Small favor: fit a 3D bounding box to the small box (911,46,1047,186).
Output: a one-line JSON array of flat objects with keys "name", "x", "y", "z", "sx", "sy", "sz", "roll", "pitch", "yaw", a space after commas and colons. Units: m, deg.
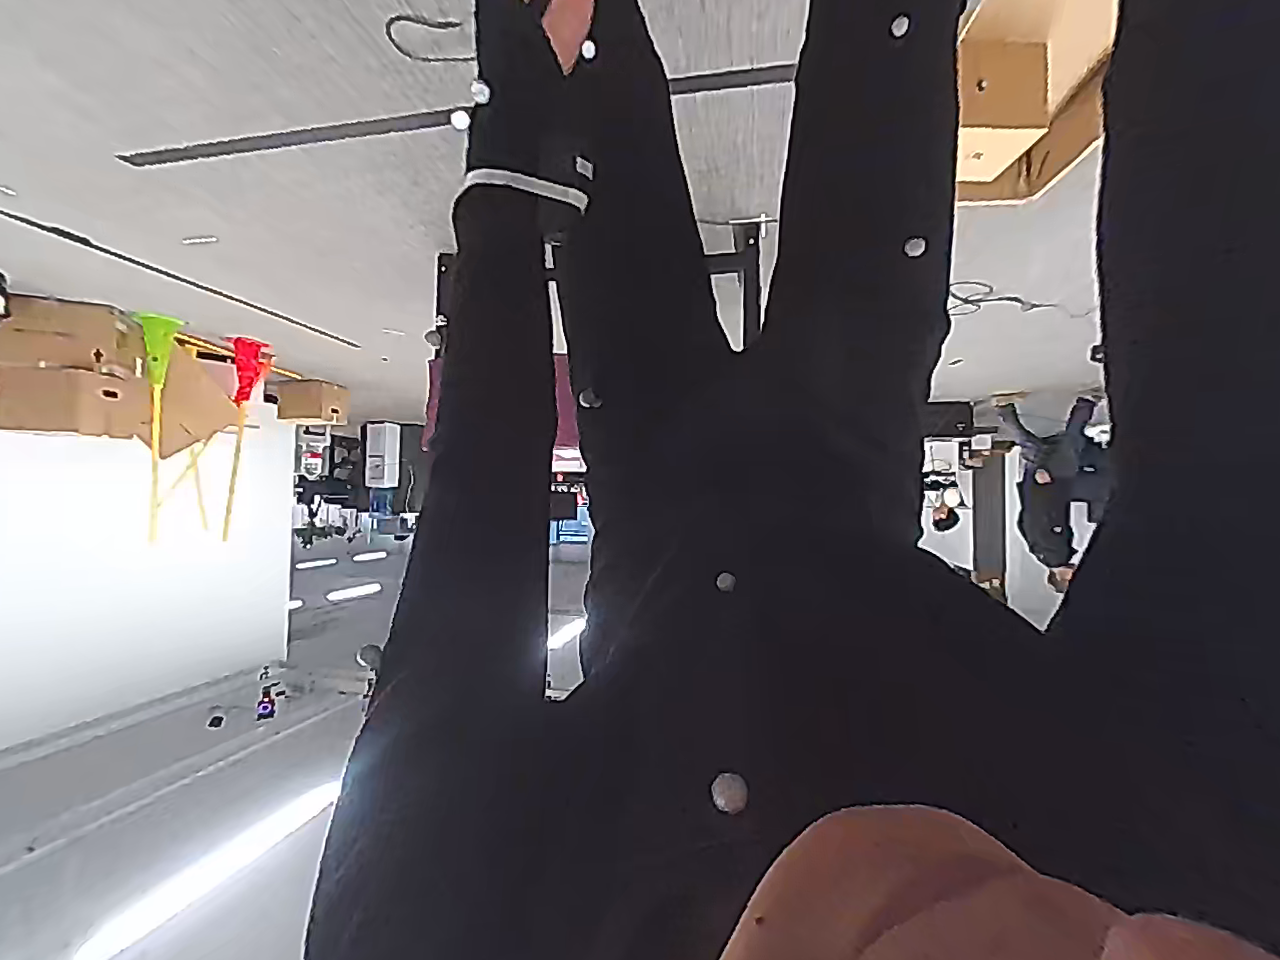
[{"name": "small box", "x": 0.667, "y": -0.722, "z": 1.081, "sx": 0.179, "sy": 0.176, "sz": 0.168, "roll": 1, "pitch": 177, "yaw": -2}]
